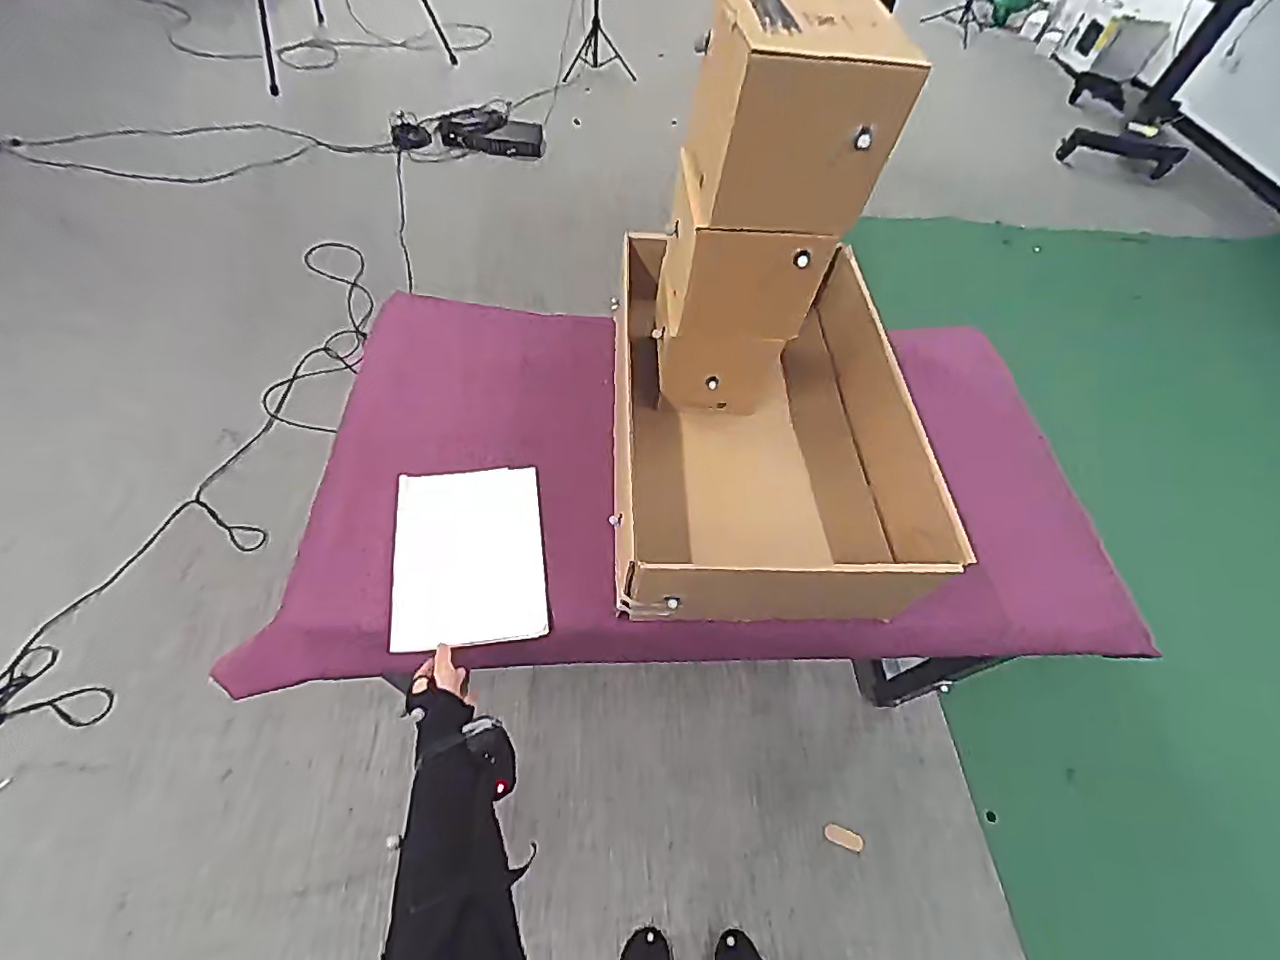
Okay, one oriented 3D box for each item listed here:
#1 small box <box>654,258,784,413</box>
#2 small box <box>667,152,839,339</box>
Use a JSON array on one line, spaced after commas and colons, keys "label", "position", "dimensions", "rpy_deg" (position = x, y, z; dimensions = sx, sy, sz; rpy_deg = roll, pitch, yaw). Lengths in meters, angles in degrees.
[{"label": "small box", "position": [0.114, -0.223, 0.858], "dimensions": [0.168, 0.176, 0.179], "rpy_deg": [1, 59, -5]}, {"label": "small box", "position": [0.133, -0.305, 0.720], "dimensions": [0.179, 0.176, 0.168], "rpy_deg": [-1, 59, -6]}]
